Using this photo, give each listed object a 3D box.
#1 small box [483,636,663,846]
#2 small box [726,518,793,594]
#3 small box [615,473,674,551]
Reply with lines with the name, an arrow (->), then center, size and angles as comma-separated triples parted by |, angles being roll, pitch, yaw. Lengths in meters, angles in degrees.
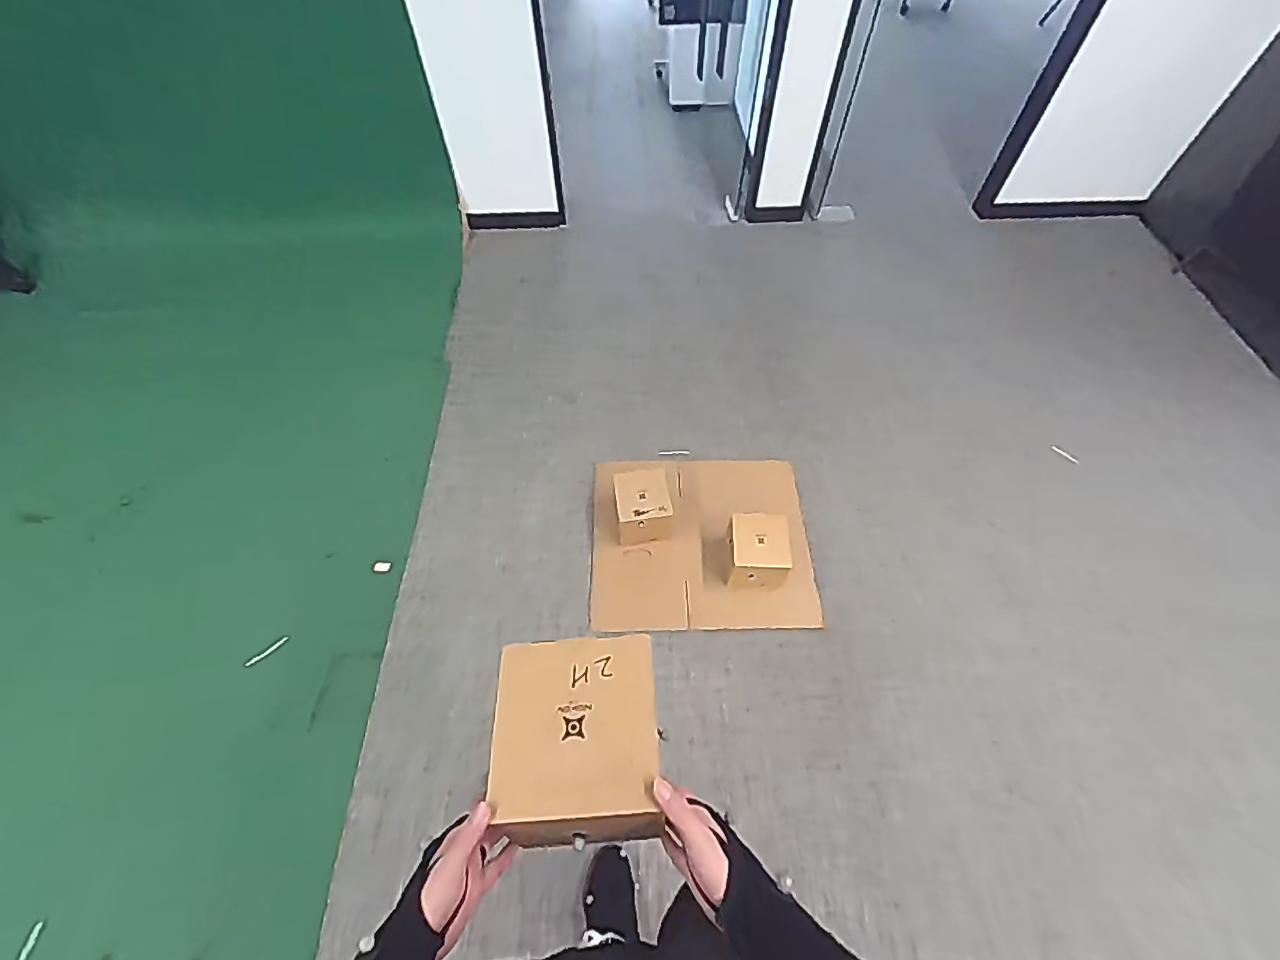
small box -> -0.061, 0.294, 0.602 | 0.168, 0.176, 0.179 | -3, 48, 0
small box -> 0.354, 0.232, 1.627 | 0.168, 0.176, 0.179 | 2, 56, 2
small box -> 0.009, 0.103, 1.715 | 0.168, 0.176, 0.179 | -7, 56, -5
